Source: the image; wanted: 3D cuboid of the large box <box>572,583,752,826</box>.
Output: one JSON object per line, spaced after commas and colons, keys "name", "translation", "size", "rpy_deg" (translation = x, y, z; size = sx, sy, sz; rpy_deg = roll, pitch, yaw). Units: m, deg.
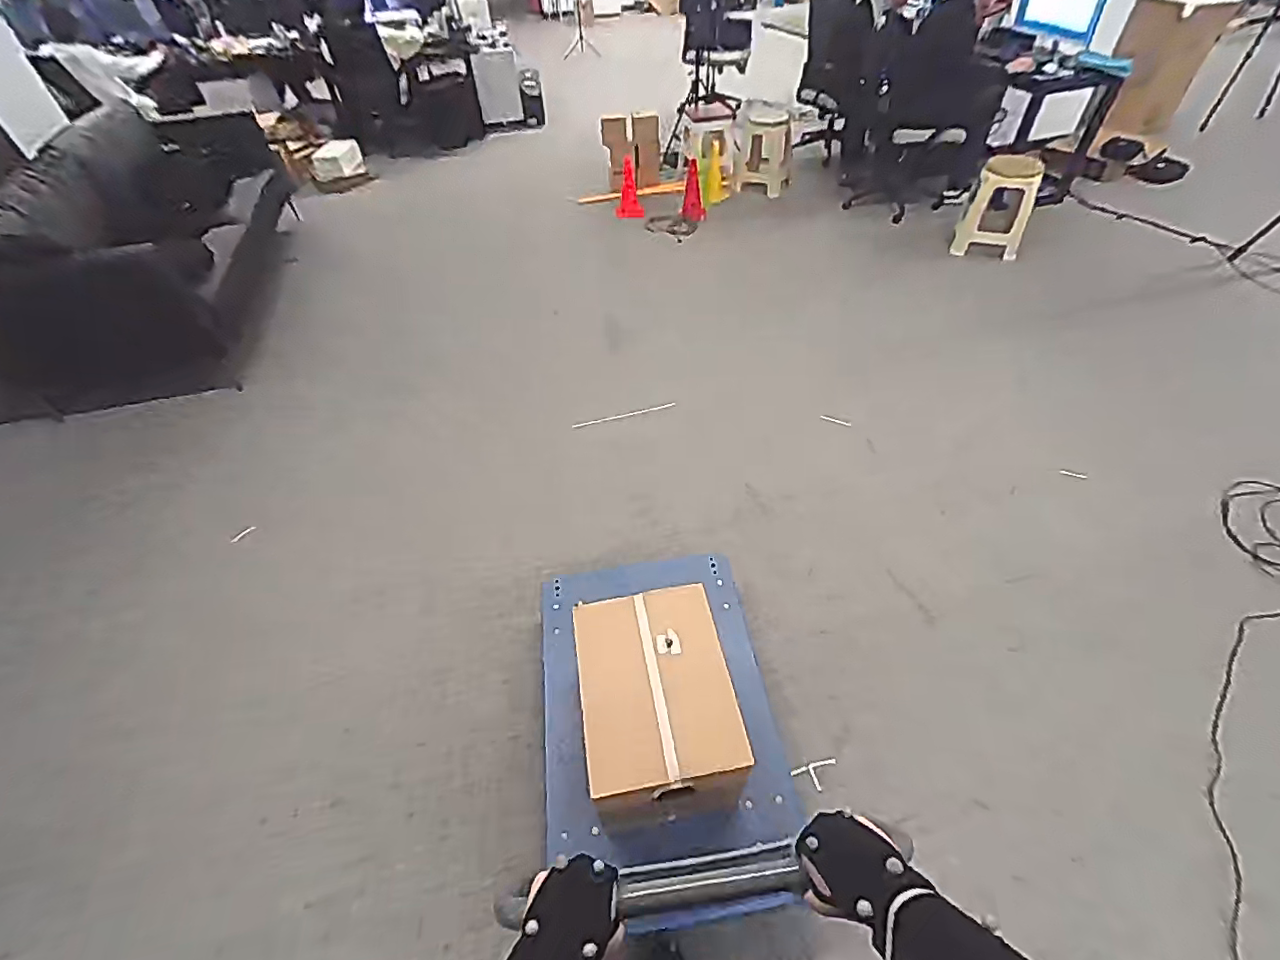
{"name": "large box", "translation": [0.038, 0.515, 1.254], "size": [0.320, 0.320, 0.408], "rpy_deg": [-10, 48, -5]}
